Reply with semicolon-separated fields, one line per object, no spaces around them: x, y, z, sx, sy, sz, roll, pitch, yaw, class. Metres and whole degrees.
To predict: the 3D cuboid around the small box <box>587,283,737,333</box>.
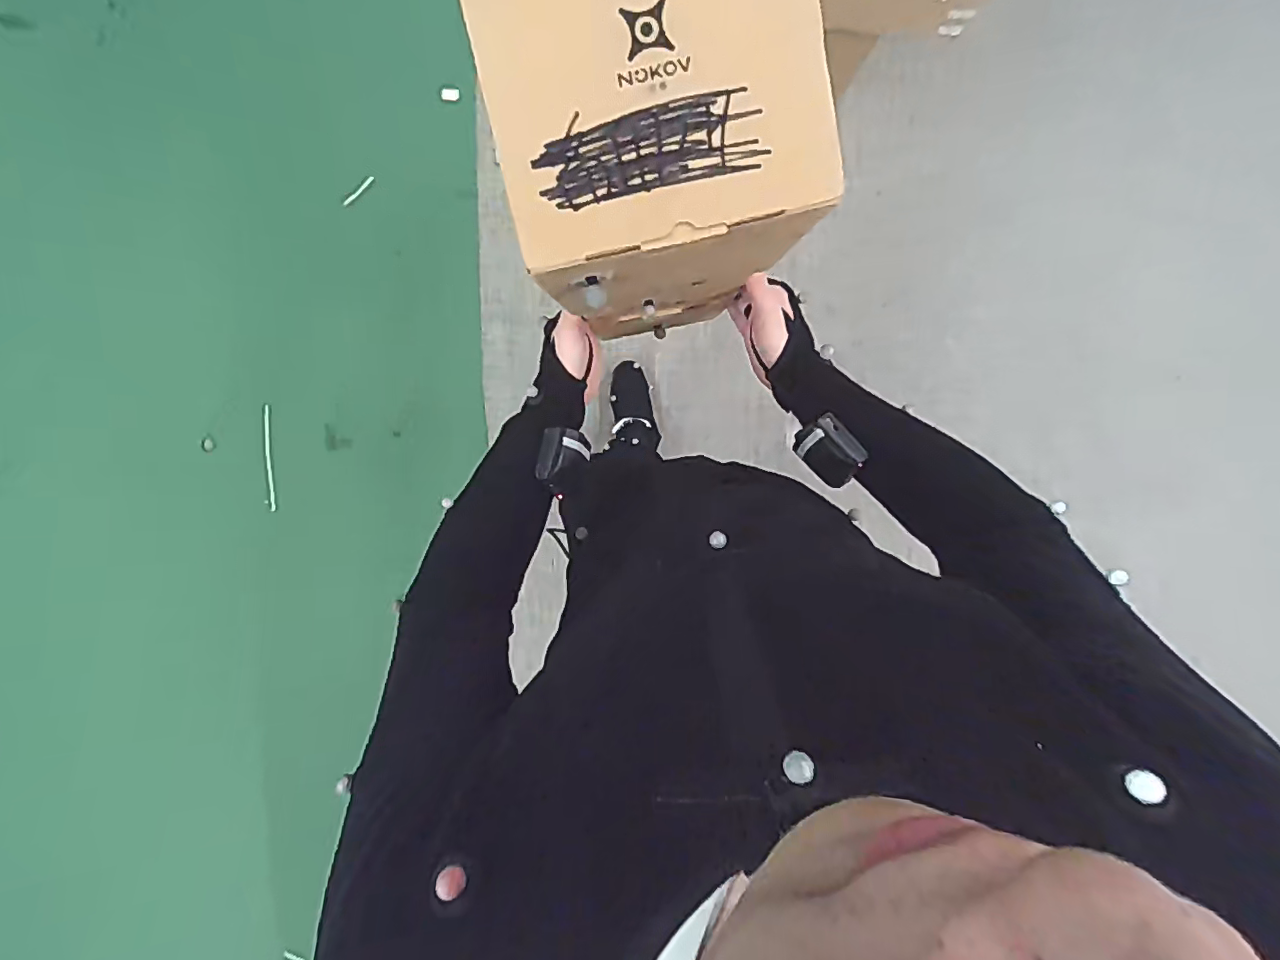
0.012;-0.284;0.649;0.168;0.176;0.179;-10;100;3;small box

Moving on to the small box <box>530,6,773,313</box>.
0.010;-0.262;0.488;0.168;0.176;0.179;-10;100;2;small box
